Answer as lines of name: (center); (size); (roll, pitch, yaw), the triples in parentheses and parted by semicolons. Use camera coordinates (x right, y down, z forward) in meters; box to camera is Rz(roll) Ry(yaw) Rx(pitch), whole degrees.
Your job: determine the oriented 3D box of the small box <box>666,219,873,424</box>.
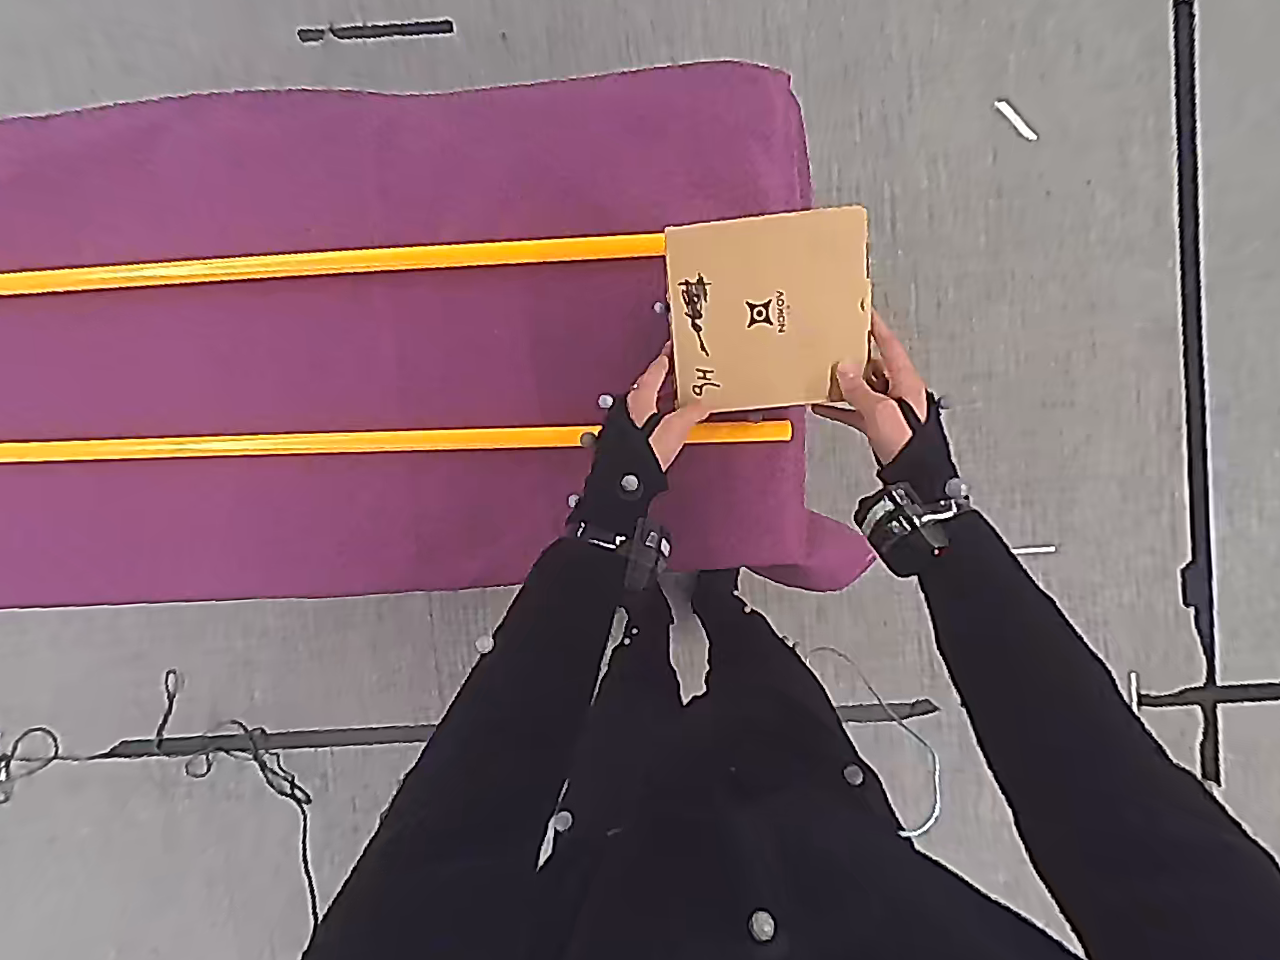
small box: (0.118, -0.148, 0.552); (0.179, 0.176, 0.168); (-4, 97, 4)
